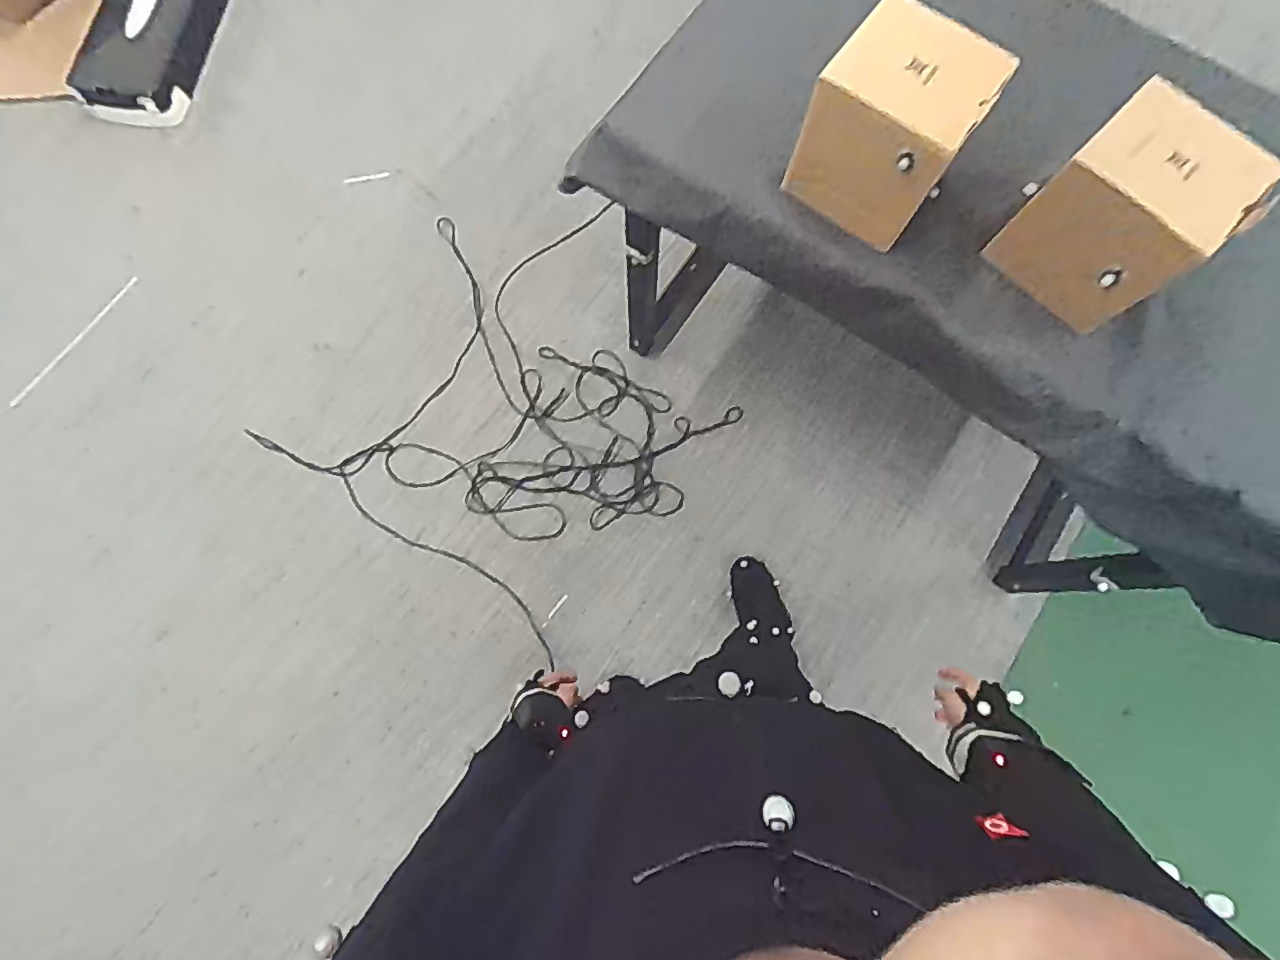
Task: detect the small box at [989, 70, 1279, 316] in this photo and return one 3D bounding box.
[{"bbox_3d":[0.585,-0.328,0.656,0.179,0.176,0.168,44,79,10],"label":"small box"}]

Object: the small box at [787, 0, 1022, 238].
[{"bbox_3d":[0.315,-0.448,0.683,0.179,0.176,0.168,36,78,7],"label":"small box"}]
